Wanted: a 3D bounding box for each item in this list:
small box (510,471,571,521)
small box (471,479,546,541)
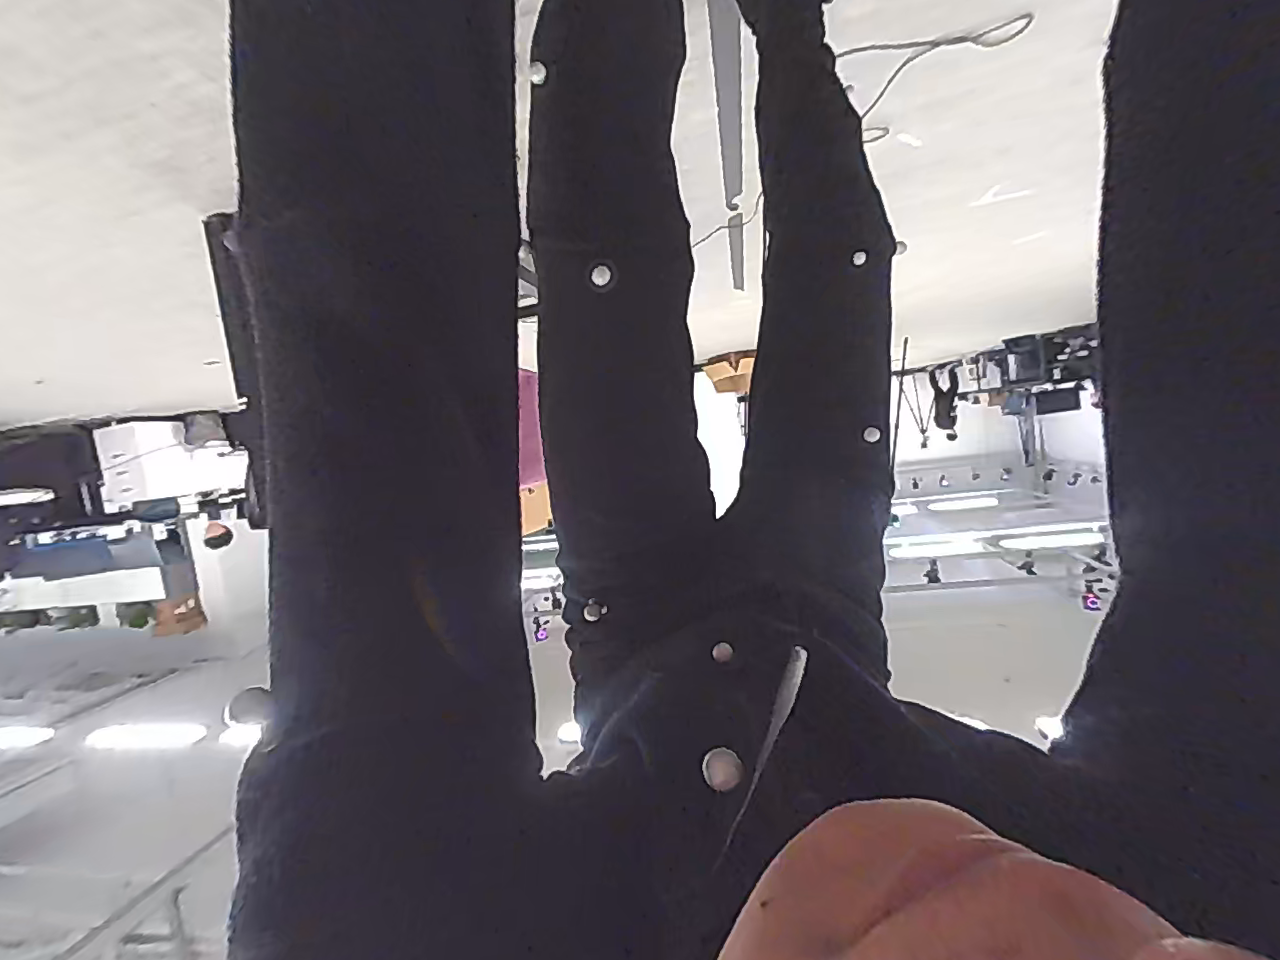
[{"bbox_3d":[-0.376,0.061,2.020,0.179,0.176,0.168,-8,-175,17],"label":"small box"},{"bbox_3d":[-0.422,0.093,1.719,0.179,0.176,0.168,-6,-174,23],"label":"small box"}]
